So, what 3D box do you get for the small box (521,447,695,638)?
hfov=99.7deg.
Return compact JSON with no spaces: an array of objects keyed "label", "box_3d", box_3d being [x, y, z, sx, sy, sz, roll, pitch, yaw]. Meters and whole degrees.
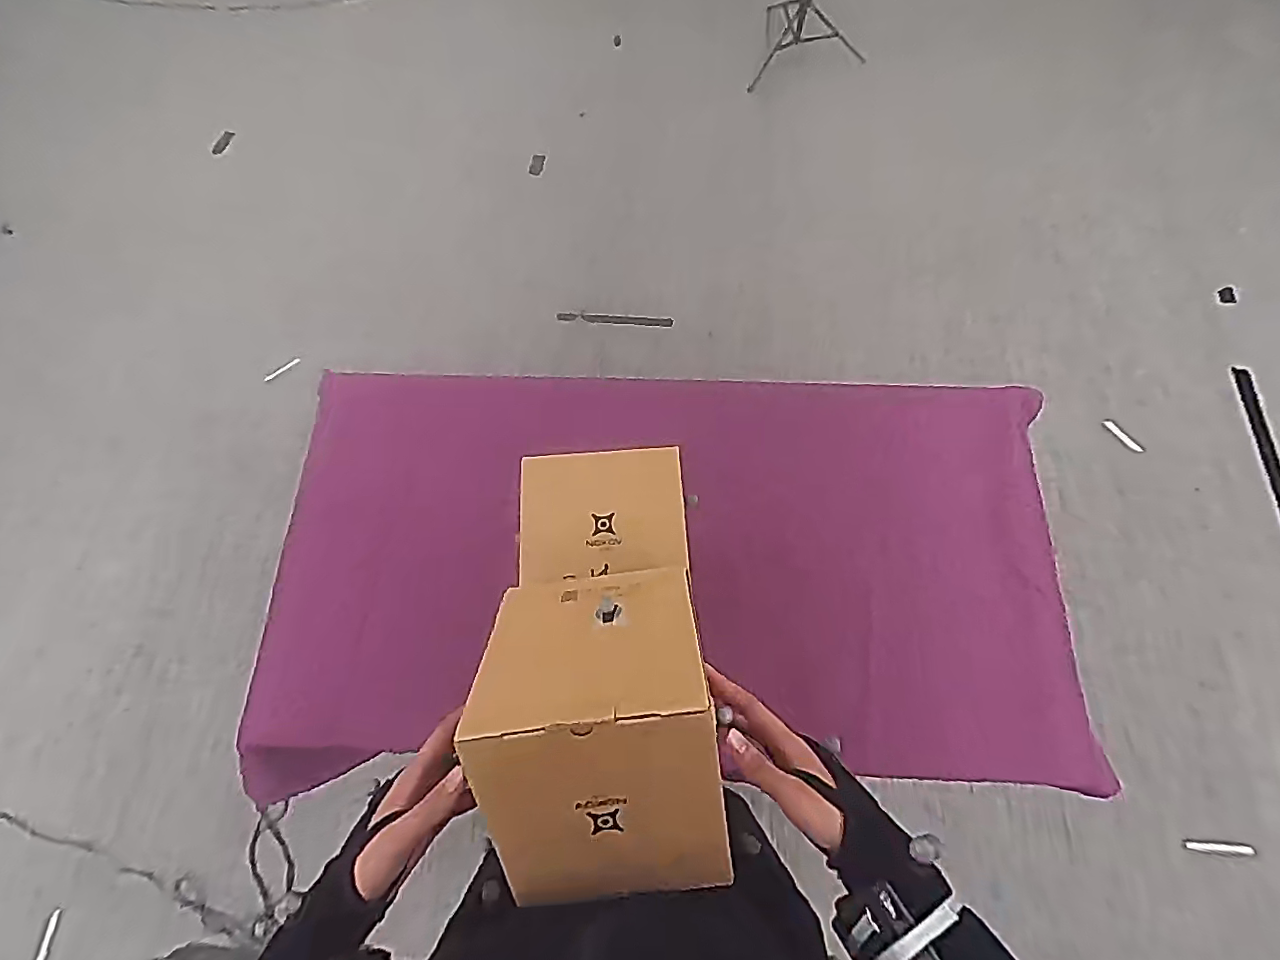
[{"label":"small box","box_3d":[-0.030,0.078,0.606,0.168,0.176,0.179,-4,71,1]}]
